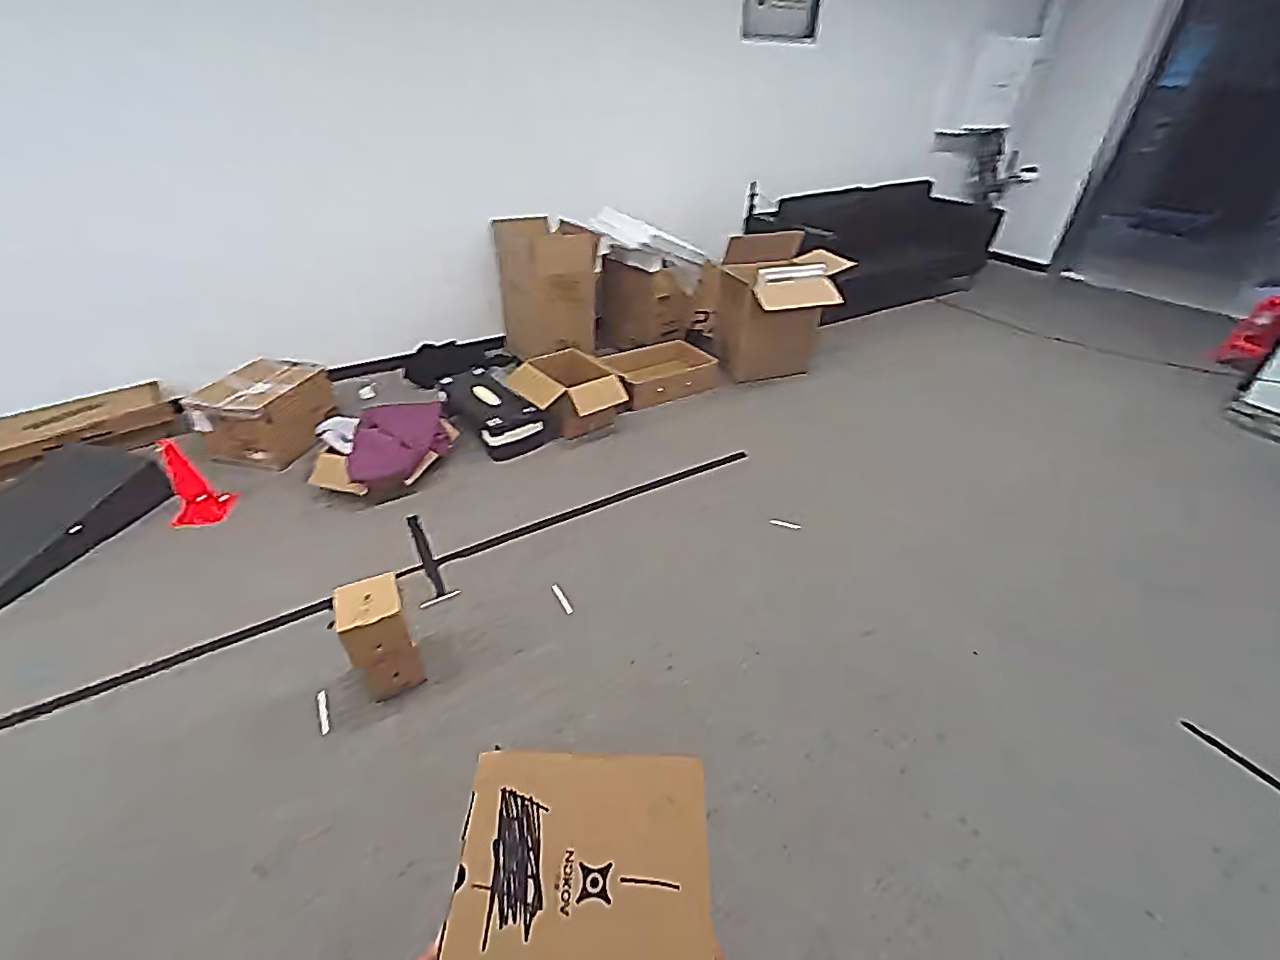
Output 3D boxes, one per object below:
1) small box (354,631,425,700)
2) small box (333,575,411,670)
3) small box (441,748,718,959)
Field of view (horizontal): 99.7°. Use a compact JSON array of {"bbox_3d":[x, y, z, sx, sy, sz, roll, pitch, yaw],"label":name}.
[{"bbox_3d":[-0.786,0.552,1.680,0.168,0.176,0.179,-20,42,-26],"label":"small box"},{"bbox_3d":[-0.784,0.417,1.584,0.168,0.176,0.179,-16,40,-21],"label":"small box"},{"bbox_3d":[-0.039,0.329,0.422,0.179,0.176,0.168,3,43,-1],"label":"small box"}]
